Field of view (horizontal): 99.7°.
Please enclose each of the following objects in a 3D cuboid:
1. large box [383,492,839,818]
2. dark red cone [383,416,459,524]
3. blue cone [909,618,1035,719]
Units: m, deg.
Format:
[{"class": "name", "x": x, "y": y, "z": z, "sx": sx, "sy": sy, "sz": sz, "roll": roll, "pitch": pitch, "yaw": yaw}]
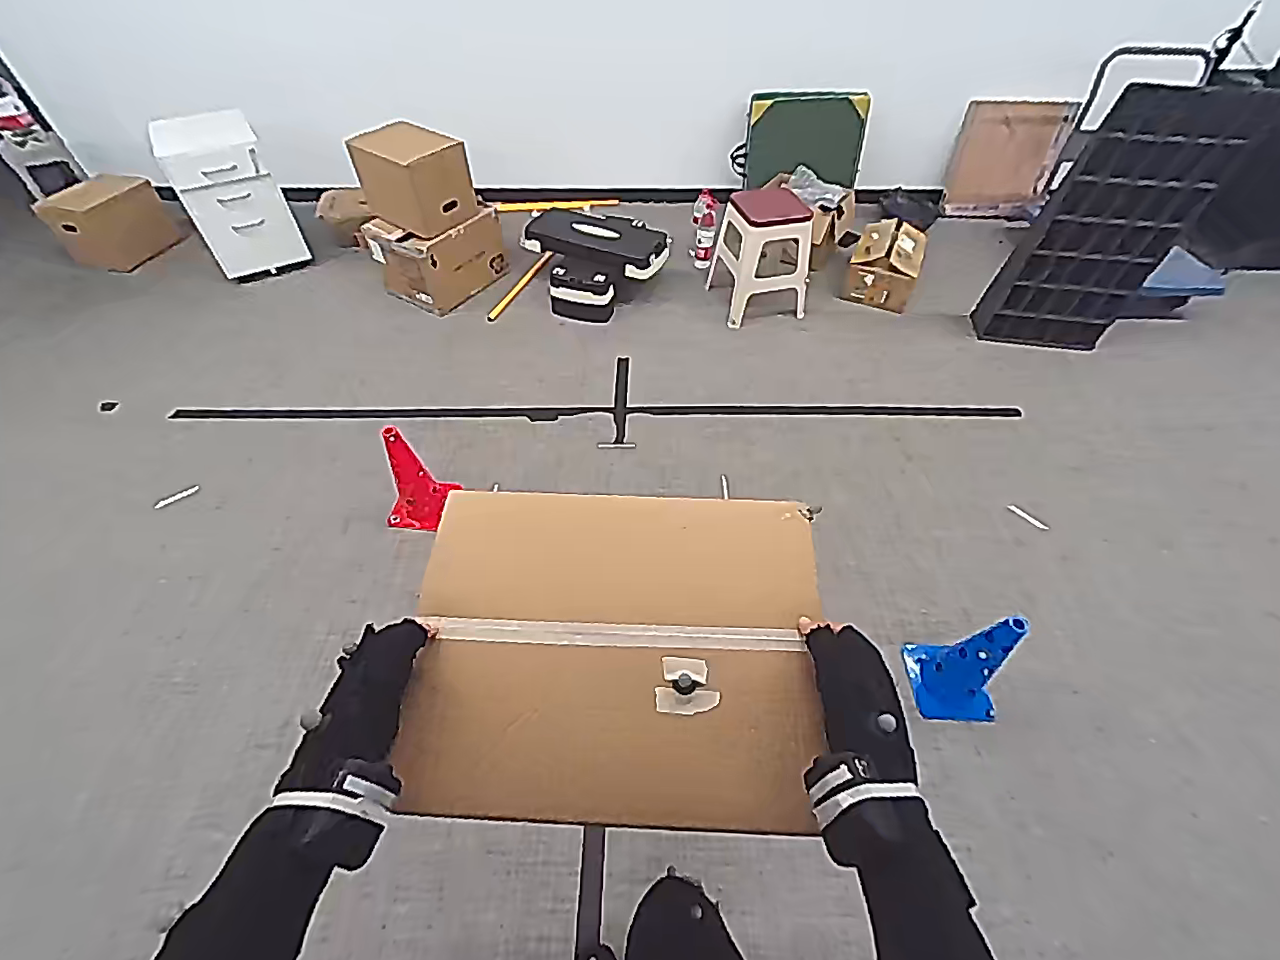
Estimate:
[{"class": "large box", "x": -0.022, "y": 0.228, "z": 0.666, "sx": 0.408, "sy": 0.320, "sz": 0.320, "roll": 2, "pitch": 59, "yaw": 2}, {"class": "dark red cone", "x": -0.720, "y": -0.043, "z": 1.686, "sx": 0.201, "sy": 0.394, "sz": 0.202, "roll": 6, "pitch": 50, "yaw": 3}, {"class": "blue cone", "x": 0.840, "y": 0.439, "z": 1.336, "sx": 0.192, "sy": 0.380, "sz": 0.193, "roll": 4, "pitch": 50, "yaw": 1}]
